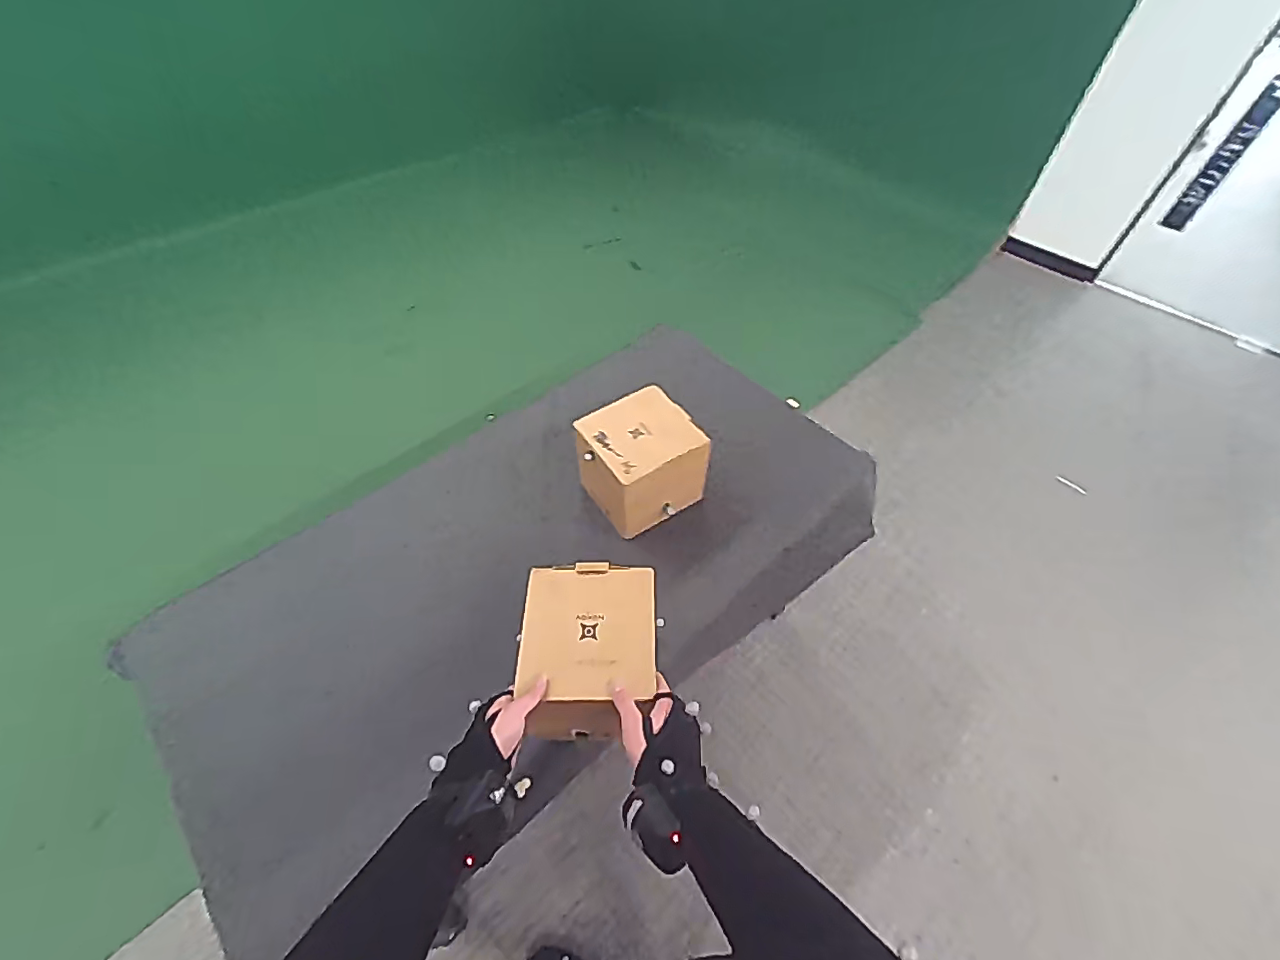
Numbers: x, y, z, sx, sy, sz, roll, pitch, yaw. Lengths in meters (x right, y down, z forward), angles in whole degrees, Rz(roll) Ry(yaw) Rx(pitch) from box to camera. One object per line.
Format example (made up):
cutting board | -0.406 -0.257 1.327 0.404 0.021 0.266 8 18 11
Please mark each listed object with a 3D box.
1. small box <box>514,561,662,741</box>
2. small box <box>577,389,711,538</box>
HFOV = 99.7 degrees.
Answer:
small box | -0.056 0.226 0.714 0.168 0.176 0.179 1 50 2
small box | 0.002 -0.028 0.978 0.179 0.176 0.168 -27 58 -21
